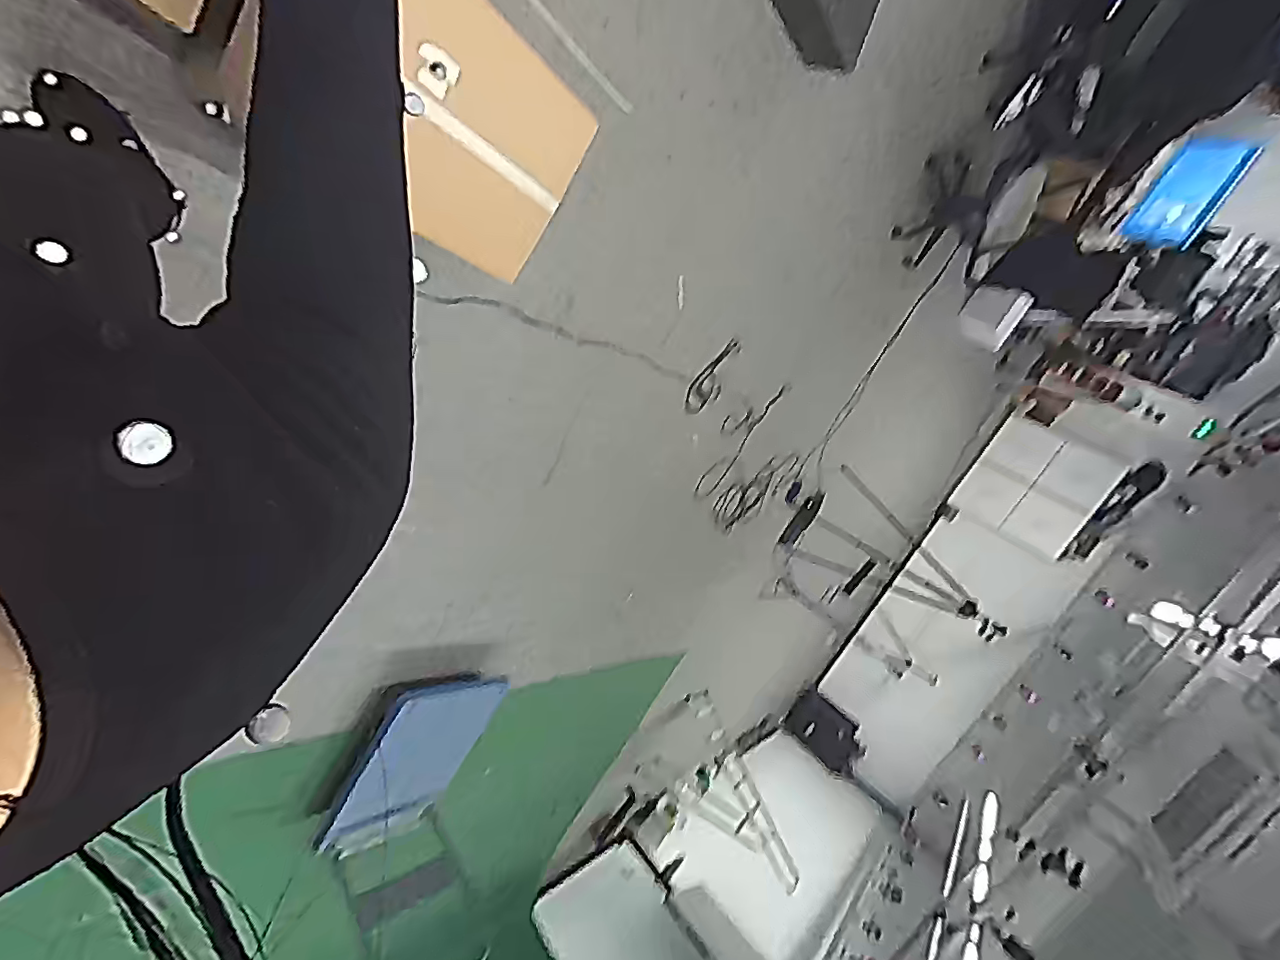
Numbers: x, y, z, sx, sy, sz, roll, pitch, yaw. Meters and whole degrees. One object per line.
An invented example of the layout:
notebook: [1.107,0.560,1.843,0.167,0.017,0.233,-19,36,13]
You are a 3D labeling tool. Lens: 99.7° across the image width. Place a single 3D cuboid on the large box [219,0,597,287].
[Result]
large box: [-0.356,-0.581,0.861,0.408,0.320,0.320,14,114,-54]
